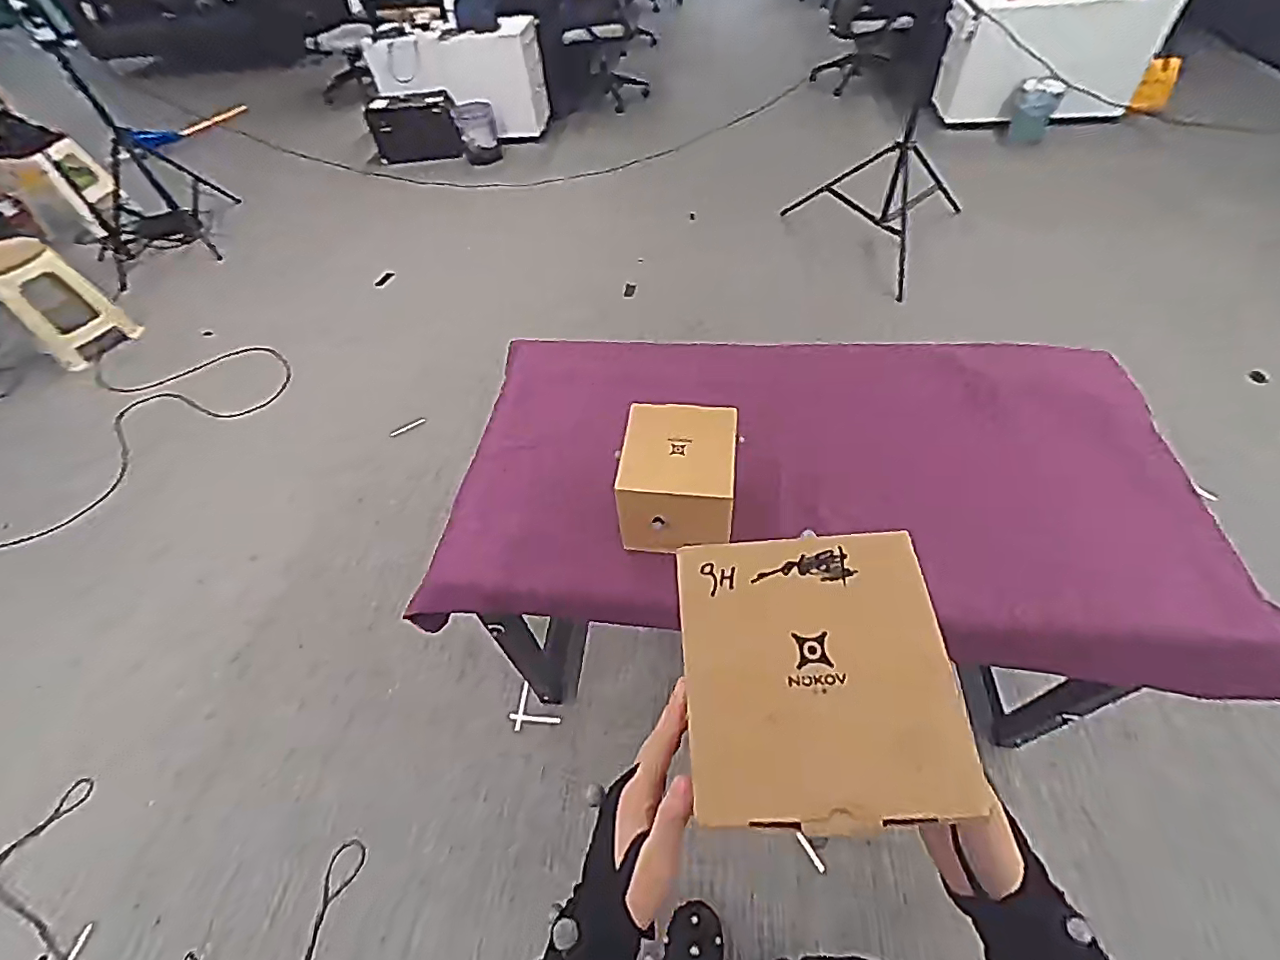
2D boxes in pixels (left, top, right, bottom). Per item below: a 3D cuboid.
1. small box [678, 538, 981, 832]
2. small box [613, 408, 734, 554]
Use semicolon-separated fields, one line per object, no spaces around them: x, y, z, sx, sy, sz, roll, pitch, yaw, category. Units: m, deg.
0.120;0.161;0.419;0.168;0.176;0.179;-4;60;5;small box
0.060;0.008;0.858;0.168;0.176;0.179;4;51;7;small box
